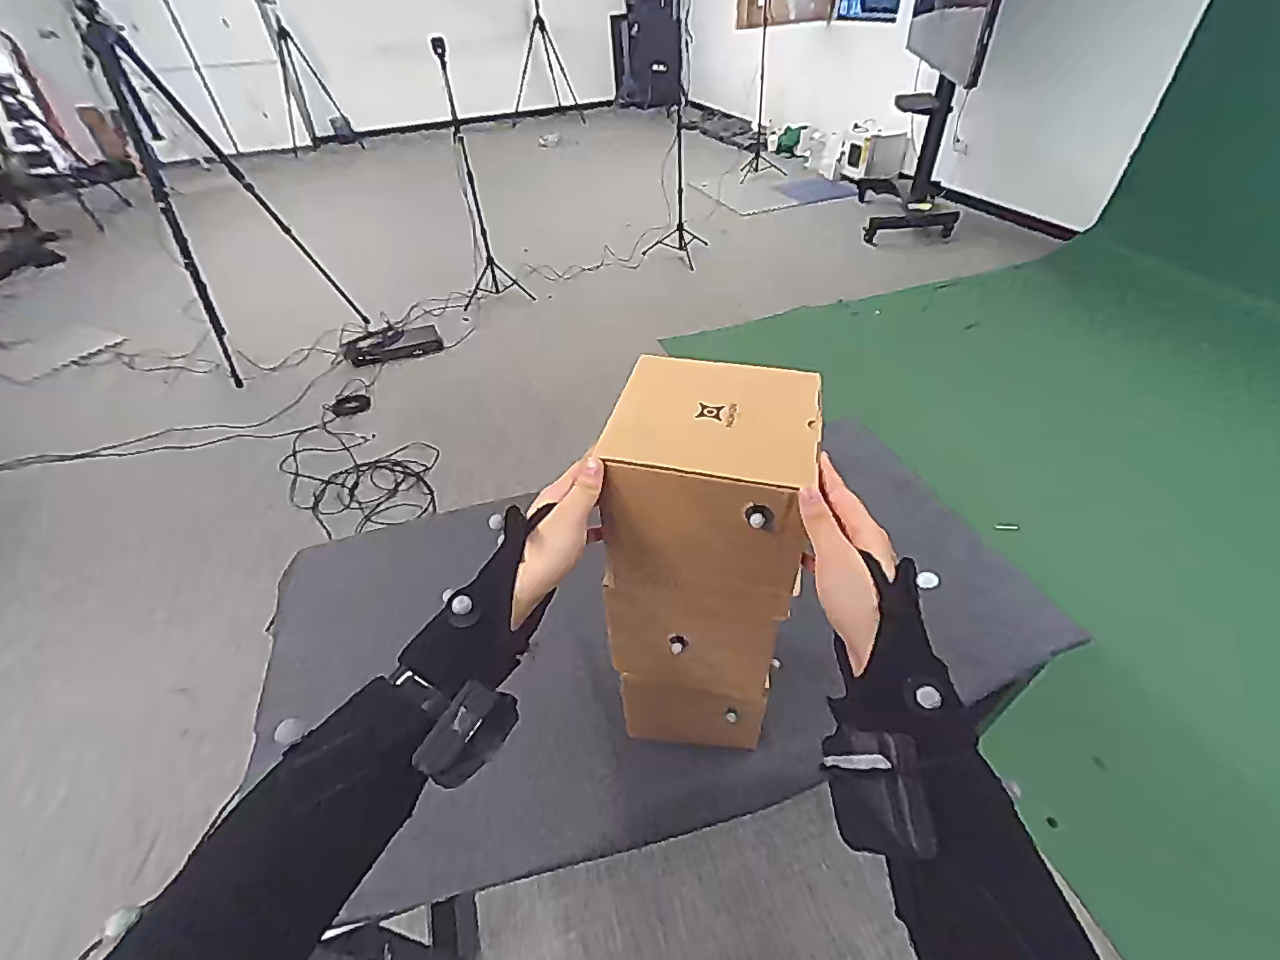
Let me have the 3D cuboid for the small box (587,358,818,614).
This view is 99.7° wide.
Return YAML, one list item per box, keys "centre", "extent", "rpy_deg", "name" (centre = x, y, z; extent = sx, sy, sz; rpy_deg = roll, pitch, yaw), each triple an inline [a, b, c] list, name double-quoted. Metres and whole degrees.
- centre: [0.064, 0.005, 0.513]
  extent: [0.179, 0.176, 0.168]
  rpy_deg: [9, 44, 11]
  name: "small box"

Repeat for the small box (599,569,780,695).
- centre: [0.067, 0.124, 0.624]
  extent: [0.179, 0.176, 0.168]
  rpy_deg: [7, 43, 13]
  name: "small box"
